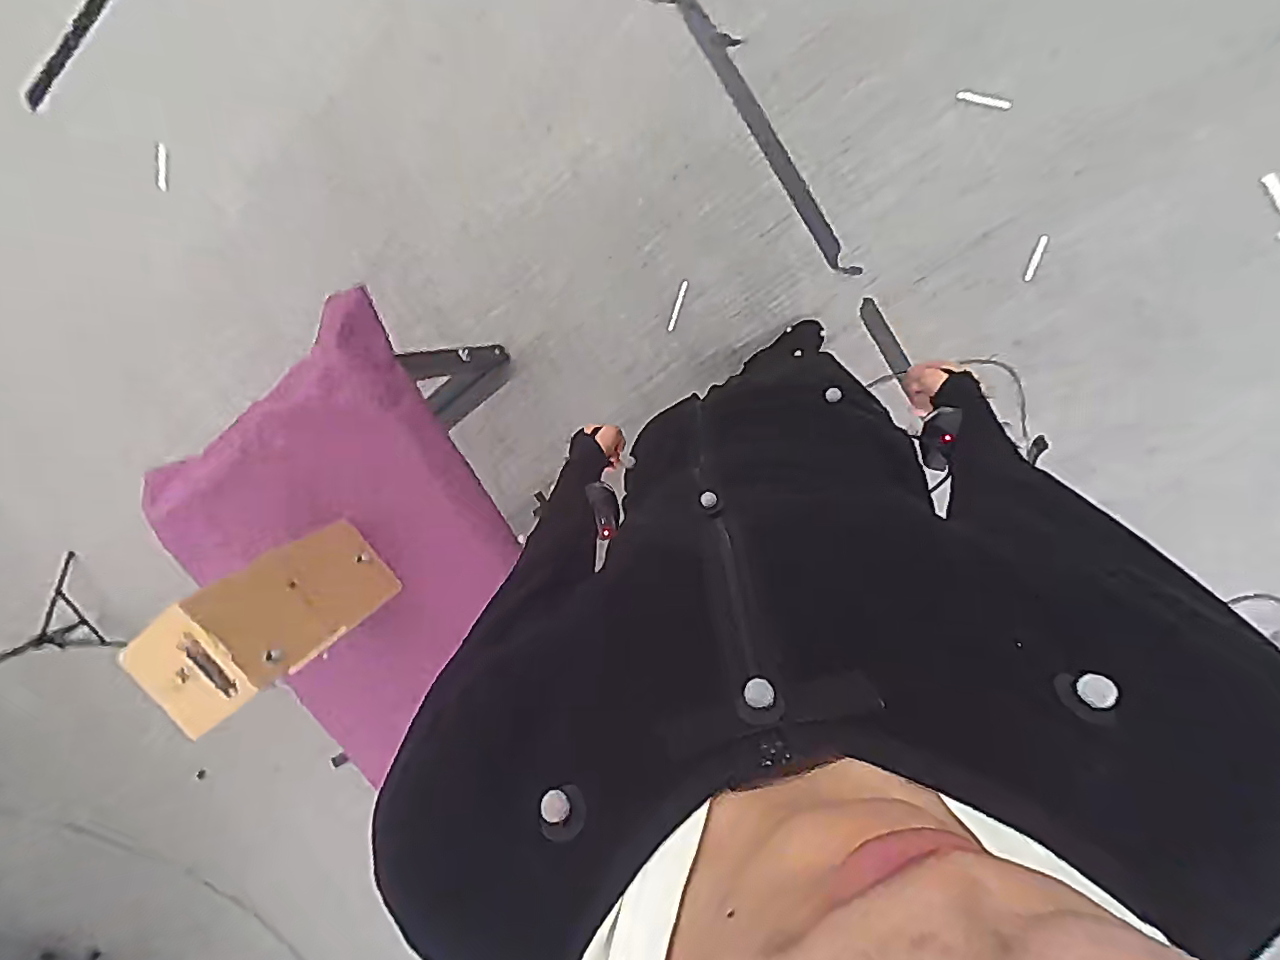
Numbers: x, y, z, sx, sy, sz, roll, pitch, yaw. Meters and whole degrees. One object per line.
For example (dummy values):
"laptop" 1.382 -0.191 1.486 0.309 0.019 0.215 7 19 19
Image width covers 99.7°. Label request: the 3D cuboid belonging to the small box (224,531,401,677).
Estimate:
"small box" -0.585 0.212 0.984 0.168 0.176 0.179 -36 96 18
